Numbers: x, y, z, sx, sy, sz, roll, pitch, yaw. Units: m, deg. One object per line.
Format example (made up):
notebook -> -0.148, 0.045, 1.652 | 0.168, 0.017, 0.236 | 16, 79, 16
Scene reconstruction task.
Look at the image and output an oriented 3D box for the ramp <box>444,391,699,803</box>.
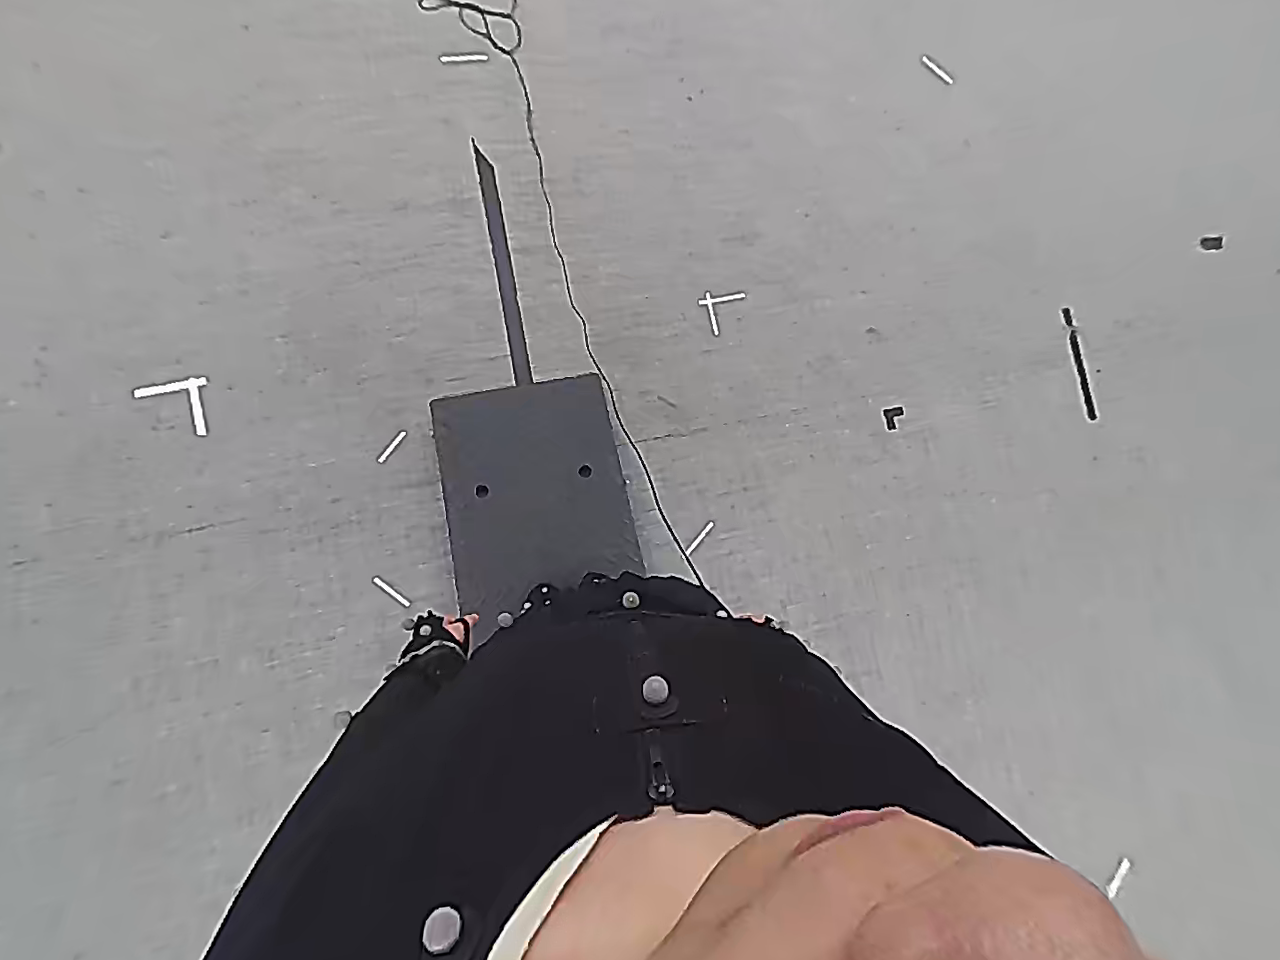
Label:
ramp -> -0.209, 0.244, 1.436 | 0.509, 0.206, 0.991 | -14, 83, -8
